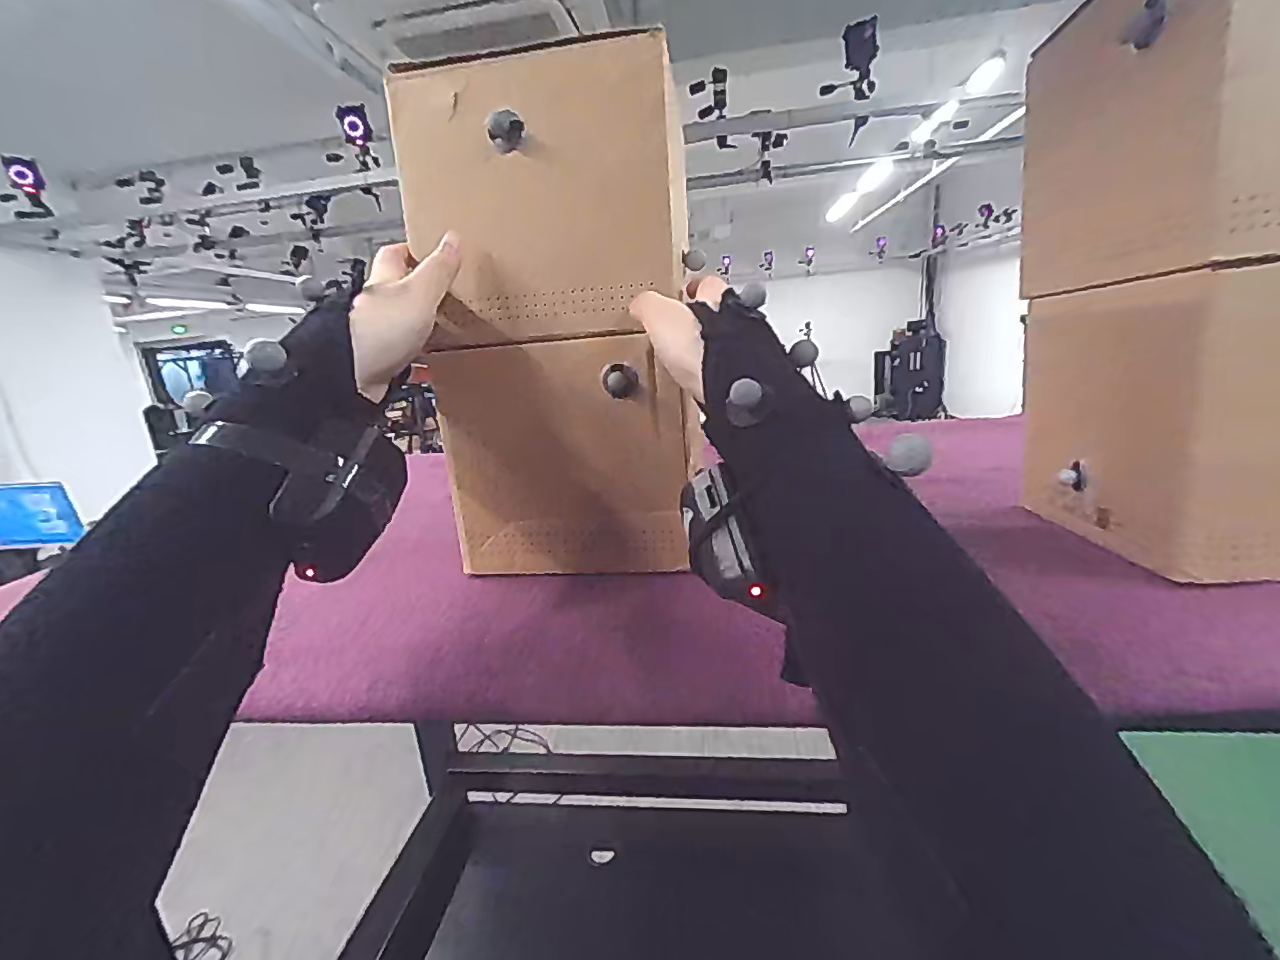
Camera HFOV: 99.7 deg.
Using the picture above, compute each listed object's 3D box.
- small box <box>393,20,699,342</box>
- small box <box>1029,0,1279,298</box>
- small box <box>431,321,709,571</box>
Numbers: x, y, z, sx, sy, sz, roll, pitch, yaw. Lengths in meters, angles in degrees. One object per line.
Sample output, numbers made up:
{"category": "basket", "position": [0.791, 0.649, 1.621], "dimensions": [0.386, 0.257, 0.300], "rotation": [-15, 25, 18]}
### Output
{"category": "small box", "position": [-0.050, -0.192, 0.410], "dimensions": [0.179, 0.176, 0.168], "rotation": [-1, 14, 9]}
{"category": "small box", "position": [0.355, -0.206, 0.306], "dimensions": [0.168, 0.176, 0.179], "rotation": [-4, 13, 10]}
{"category": "small box", "position": [-0.039, -0.032, 0.443], "dimensions": [0.179, 0.176, 0.168], "rotation": [-2, 14, 10]}
